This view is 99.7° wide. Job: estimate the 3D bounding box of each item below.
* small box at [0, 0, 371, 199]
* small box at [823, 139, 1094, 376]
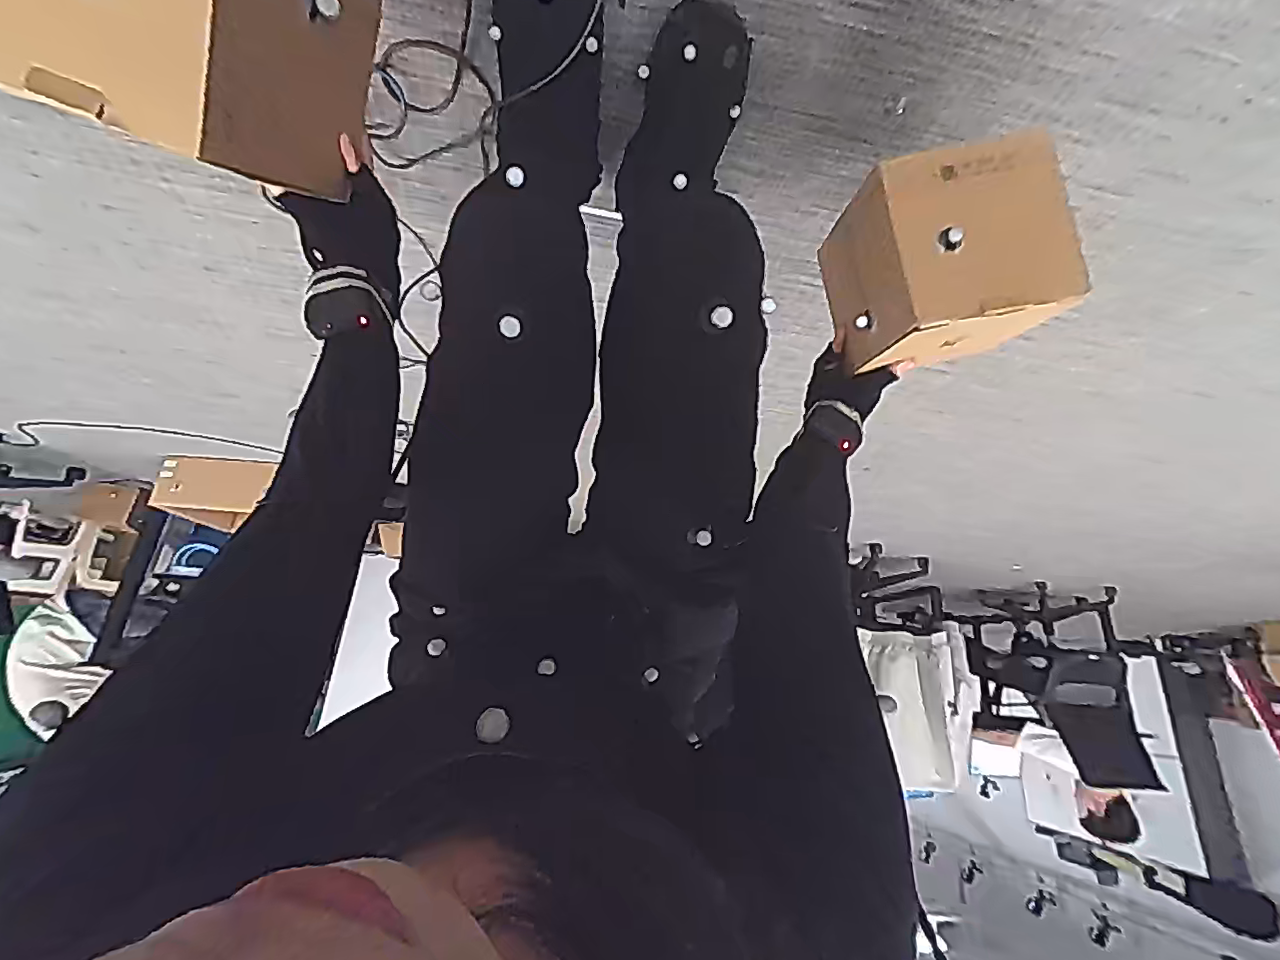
[{"bbox_3d":[-0.320,-0.329,0.379,0.168,0.176,0.179,21,-163,-4],"label":"small box"},{"bbox_3d":[0.310,-0.226,0.568,0.168,0.176,0.179,-11,177,-1],"label":"small box"}]
